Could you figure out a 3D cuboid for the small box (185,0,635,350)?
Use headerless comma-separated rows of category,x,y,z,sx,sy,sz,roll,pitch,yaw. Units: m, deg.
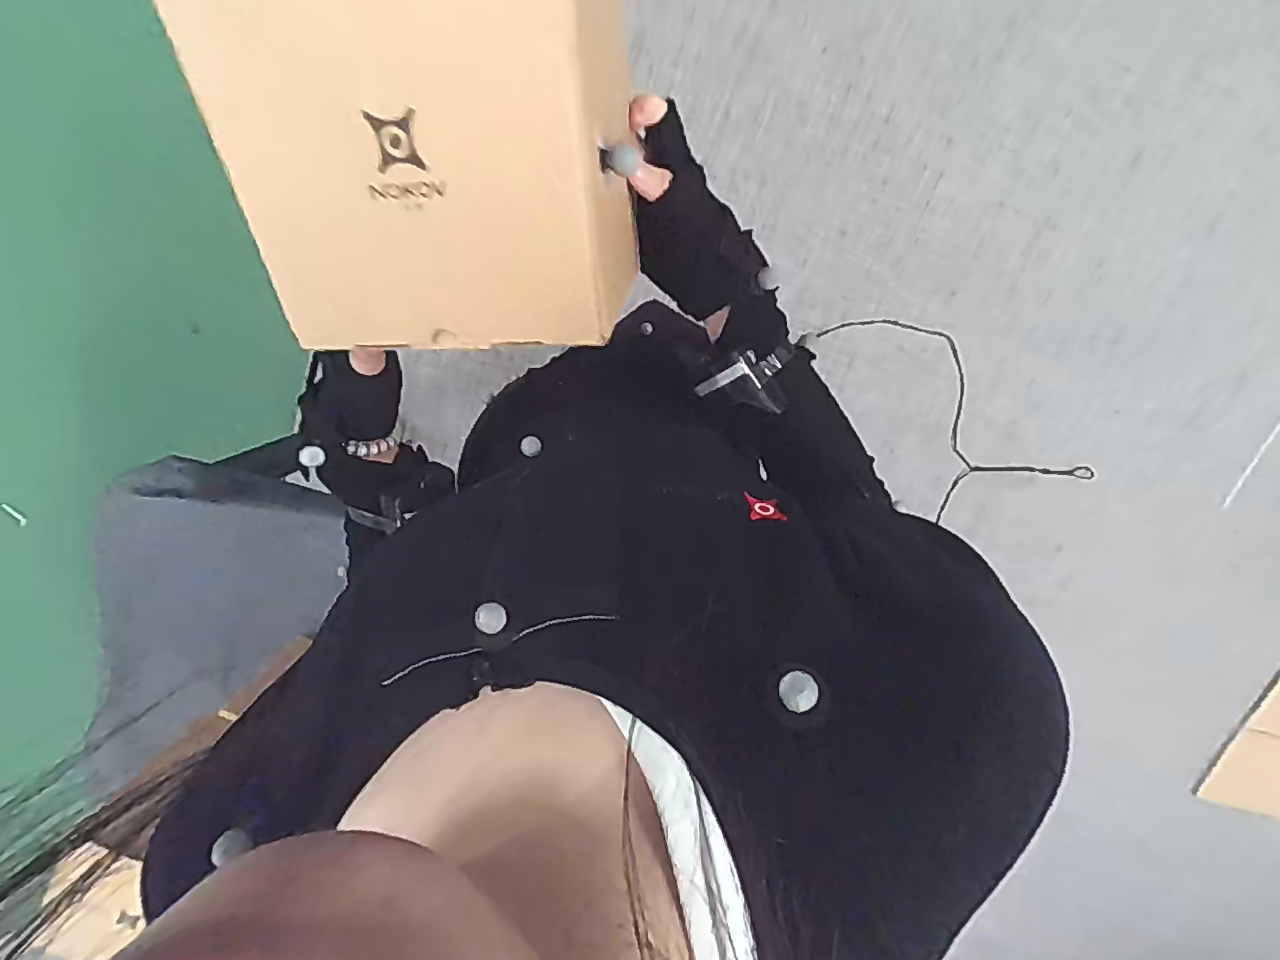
small box,-0.093,-0.188,0.310,0.168,0.176,0.179,0,126,5
